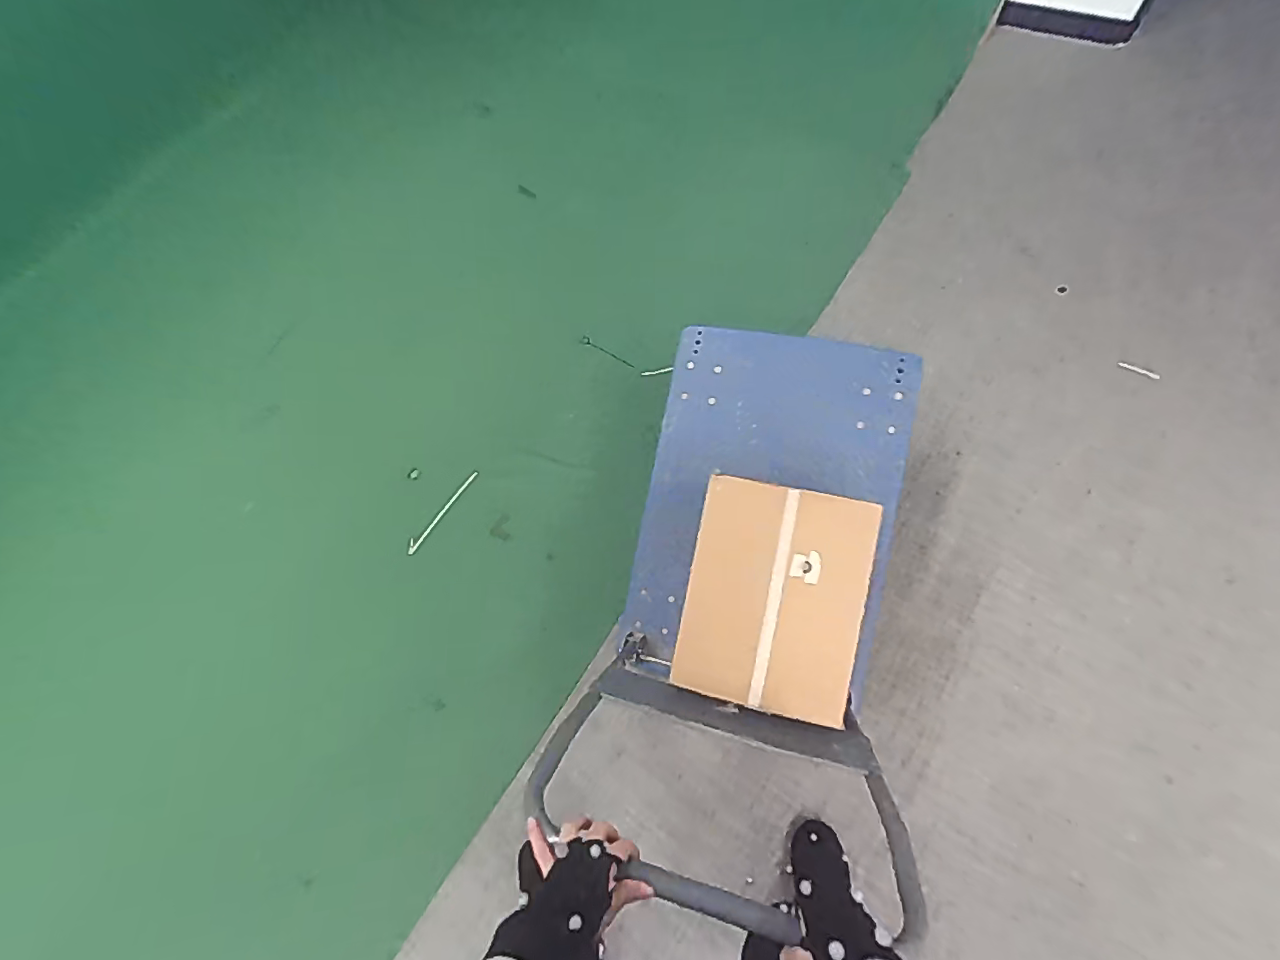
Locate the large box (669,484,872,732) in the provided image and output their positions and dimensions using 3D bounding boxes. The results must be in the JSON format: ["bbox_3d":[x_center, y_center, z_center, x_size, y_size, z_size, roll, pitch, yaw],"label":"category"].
[{"bbox_3d":[0.270,0.245,1.149,0.320,0.320,0.408,12,87,12],"label":"large box"}]
